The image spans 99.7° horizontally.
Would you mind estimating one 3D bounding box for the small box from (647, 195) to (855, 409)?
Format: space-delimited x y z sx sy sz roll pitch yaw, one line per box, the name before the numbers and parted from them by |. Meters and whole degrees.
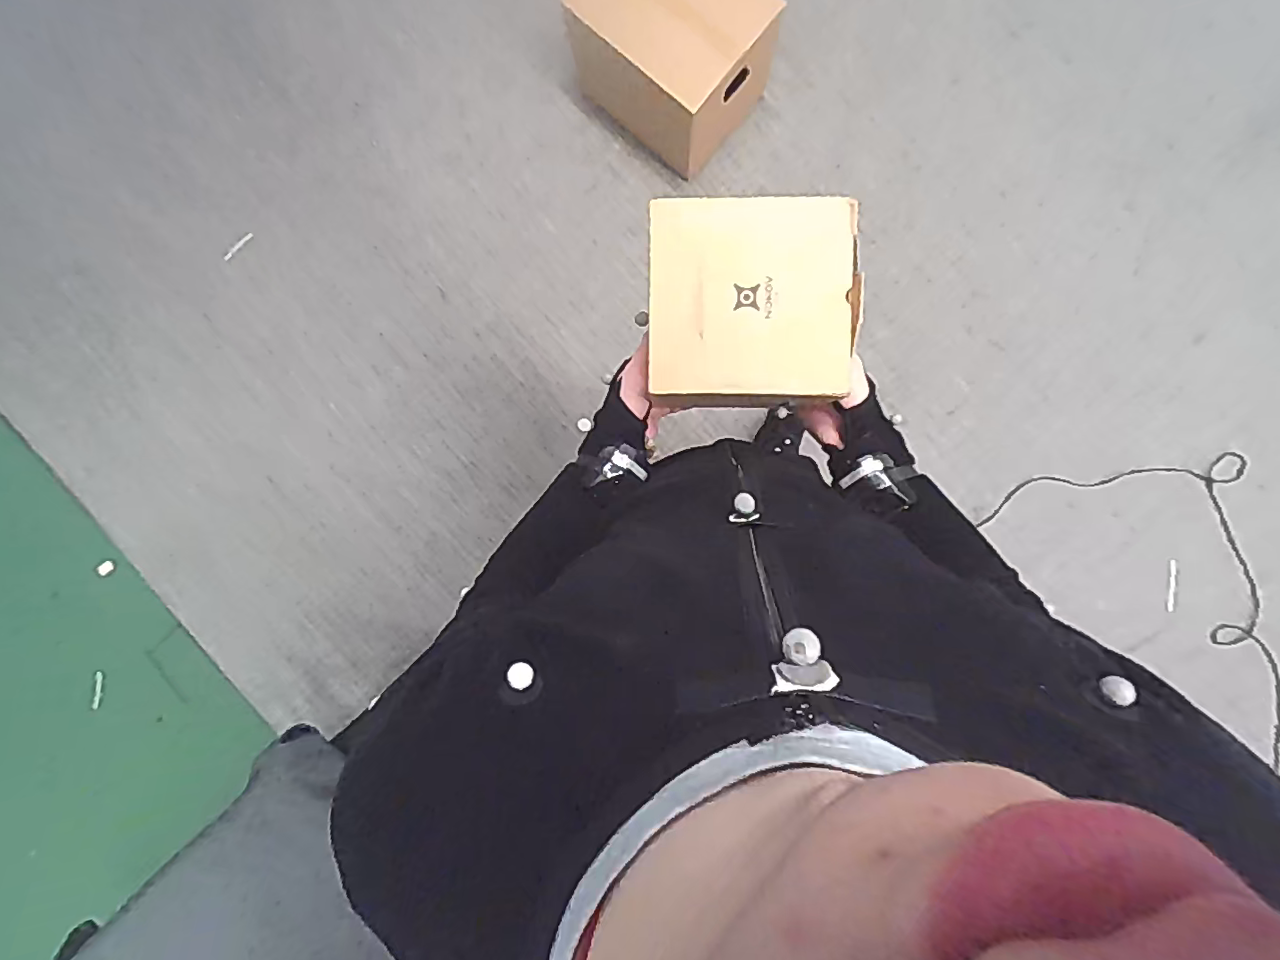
small box | 0.096 -0.161 0.538 0.179 0.176 0.168 -1 93 3
